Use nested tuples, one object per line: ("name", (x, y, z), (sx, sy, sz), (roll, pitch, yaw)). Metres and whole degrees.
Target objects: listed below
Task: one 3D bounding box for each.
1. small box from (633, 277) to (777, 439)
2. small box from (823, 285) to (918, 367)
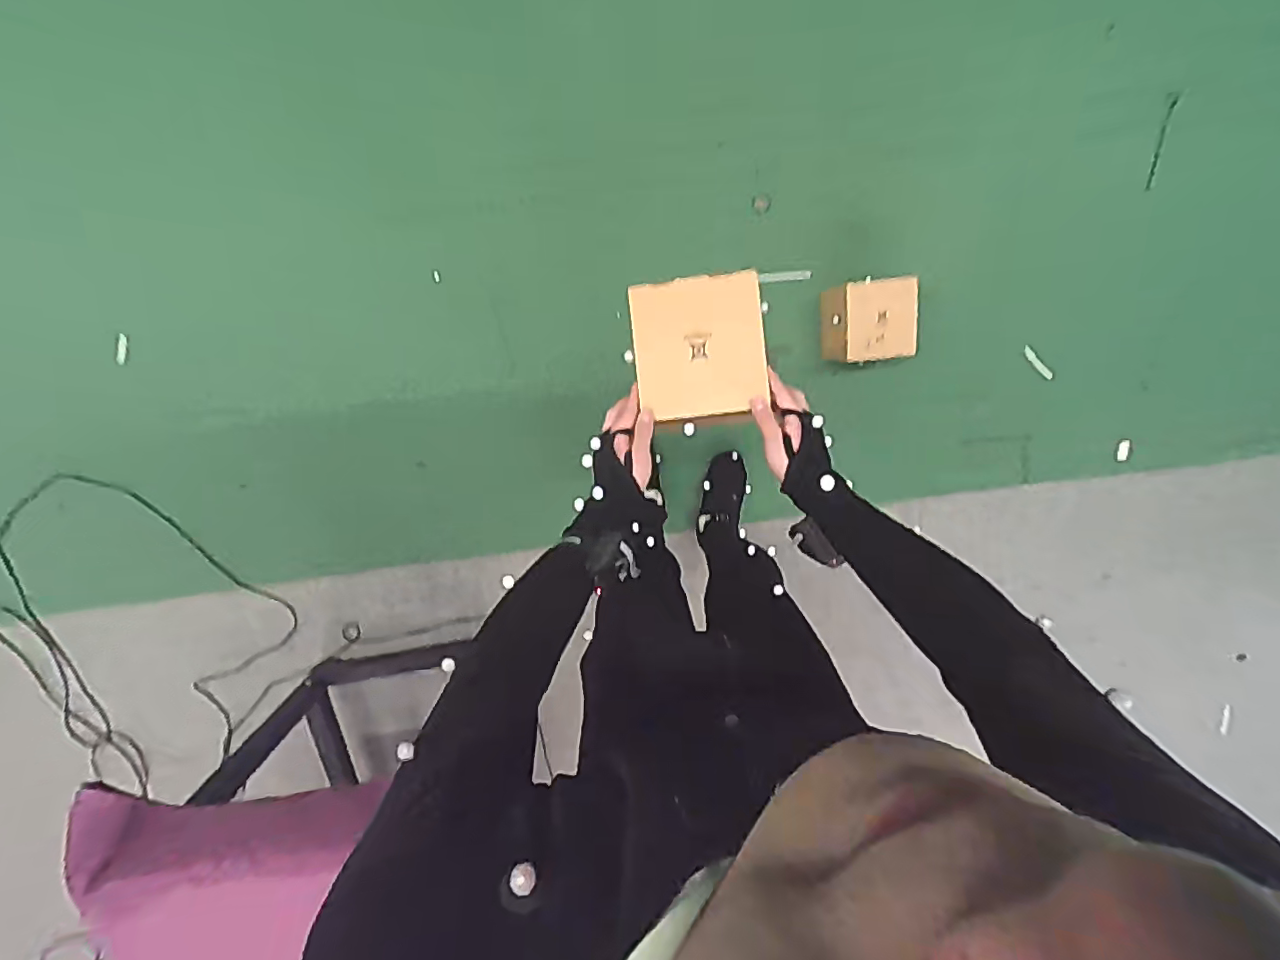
("small box", (0.088, -0.155, 0.750), (0.168, 0.176, 0.179), (-7, 86, 5))
("small box", (0.561, -0.373, 1.334), (0.168, 0.176, 0.179), (-6, 103, -1))
